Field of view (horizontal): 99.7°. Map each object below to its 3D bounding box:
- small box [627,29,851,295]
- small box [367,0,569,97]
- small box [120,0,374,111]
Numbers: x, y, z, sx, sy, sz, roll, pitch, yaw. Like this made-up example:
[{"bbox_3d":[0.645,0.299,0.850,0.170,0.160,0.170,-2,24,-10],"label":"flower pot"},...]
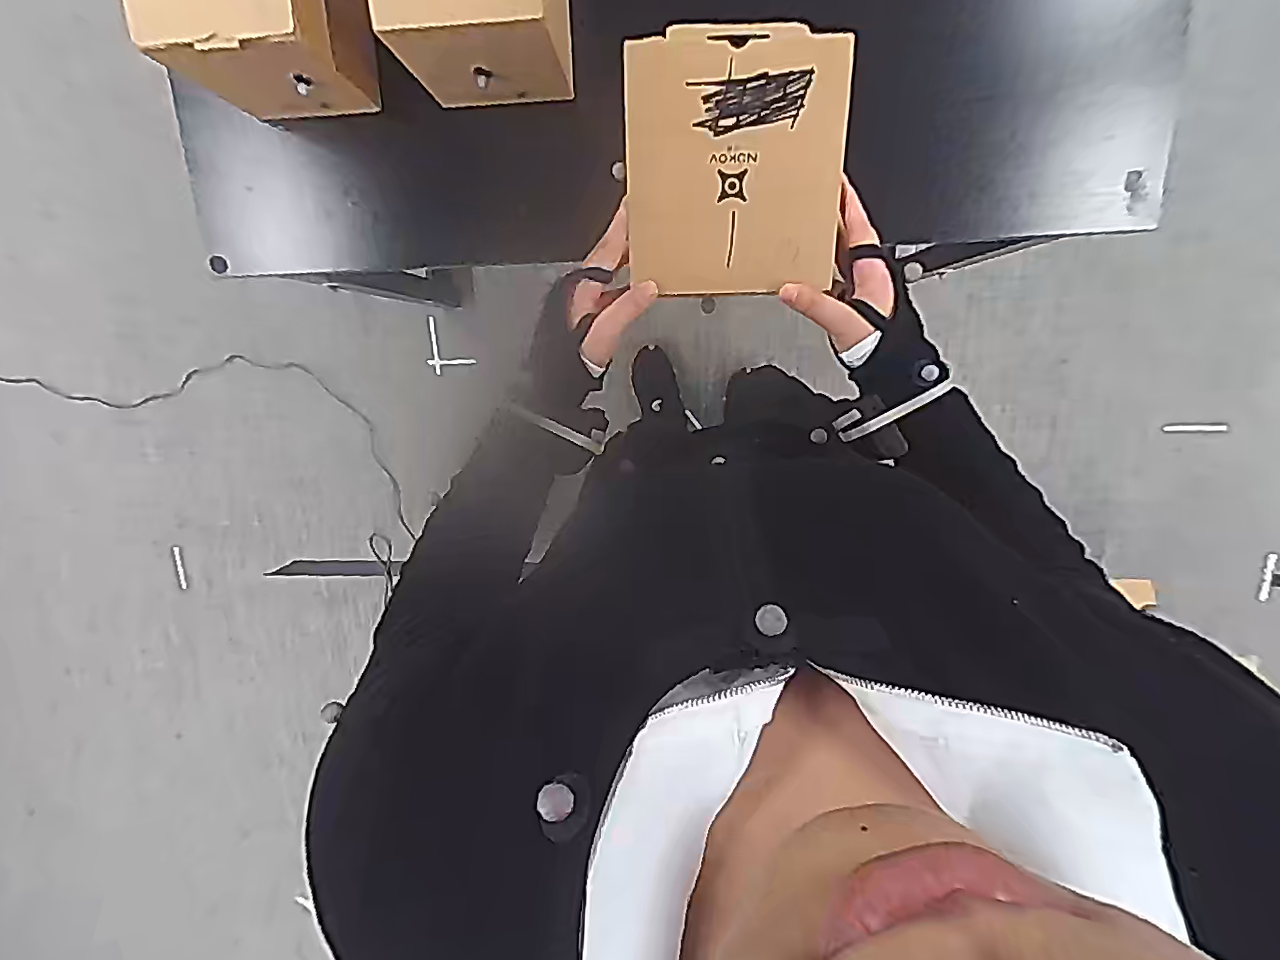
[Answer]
[{"bbox_3d":[0.072,-0.262,0.487,0.168,0.176,0.179,-1,109,1],"label":"small box"},{"bbox_3d":[-0.171,-0.527,0.561,0.168,0.176,0.179,-1,103,3],"label":"small box"},{"bbox_3d":[-0.410,-0.522,0.577,0.168,0.176,0.179,-2,102,2],"label":"small box"}]
